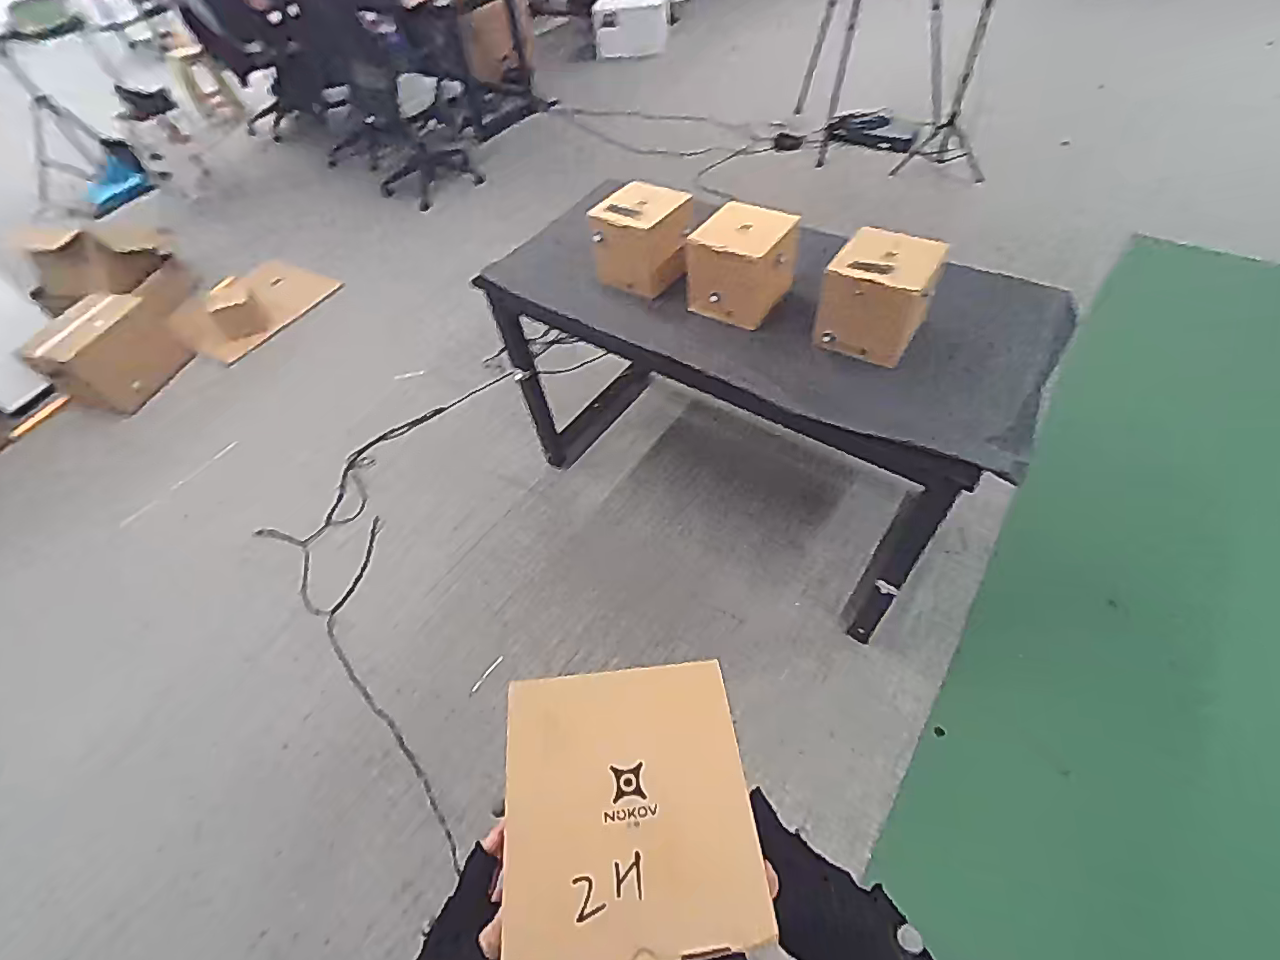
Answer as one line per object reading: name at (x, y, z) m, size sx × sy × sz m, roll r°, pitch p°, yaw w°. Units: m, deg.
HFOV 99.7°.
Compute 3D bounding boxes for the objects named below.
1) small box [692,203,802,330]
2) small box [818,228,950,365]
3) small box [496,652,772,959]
small box at (0.221, -0.455, 1.154) m, size 0.168 × 0.176 × 0.179 m, roll 27°, pitch 61°, yaw 24°
small box at (0.458, -0.349, 1.041) m, size 0.168 × 0.176 × 0.179 m, roll 27°, pitch 59°, yaw 25°
small box at (-0.014, 0.259, 0.428) m, size 0.168 × 0.176 × 0.179 m, roll -5°, pitch 51°, yaw -6°
